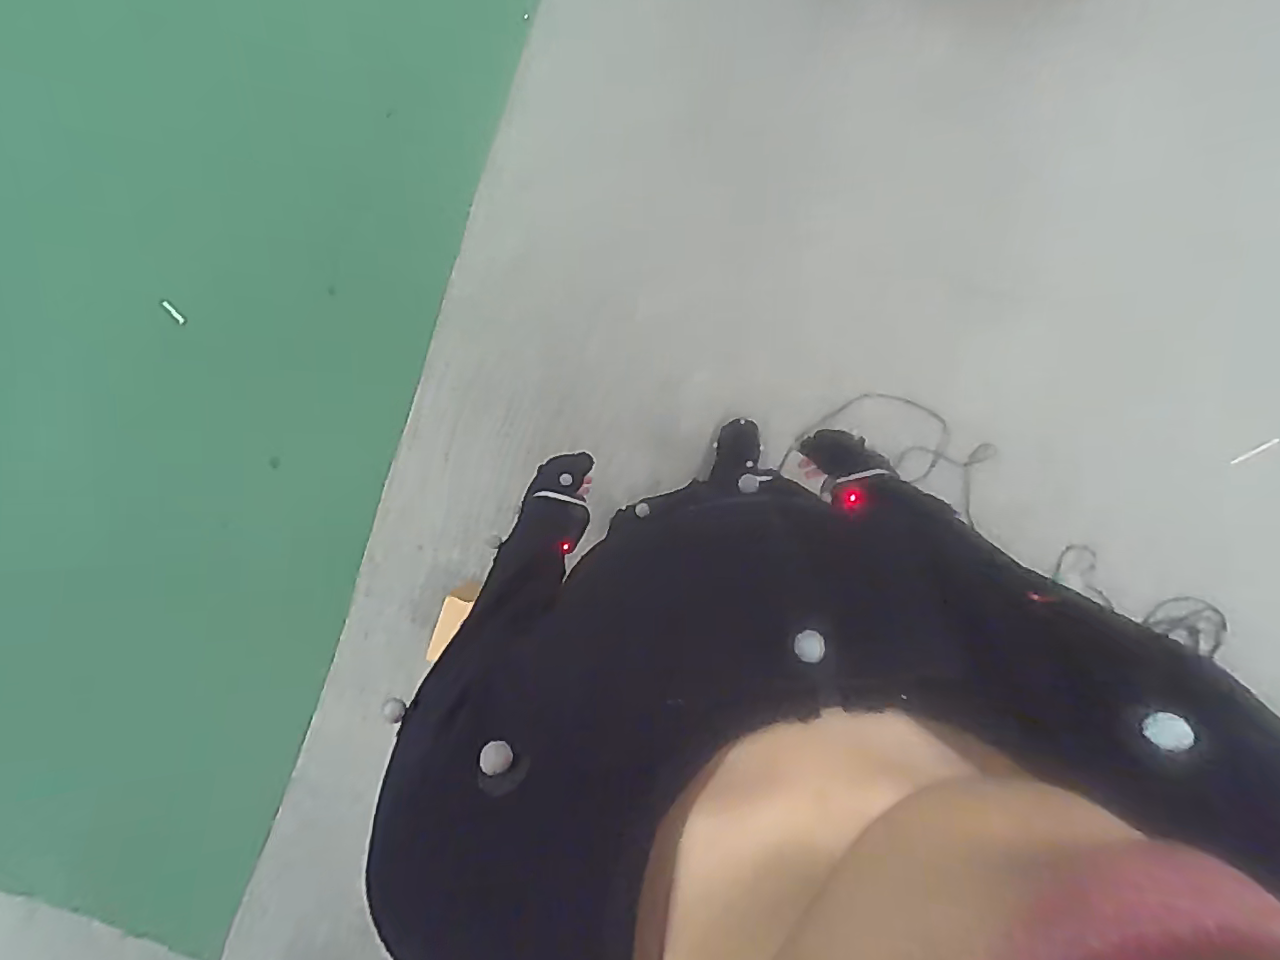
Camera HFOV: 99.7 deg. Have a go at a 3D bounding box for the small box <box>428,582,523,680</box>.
[{"bbox_3d":[-0.425,0.390,1.429,0.168,0.176,0.179,20,92,0],"label":"small box"}]
